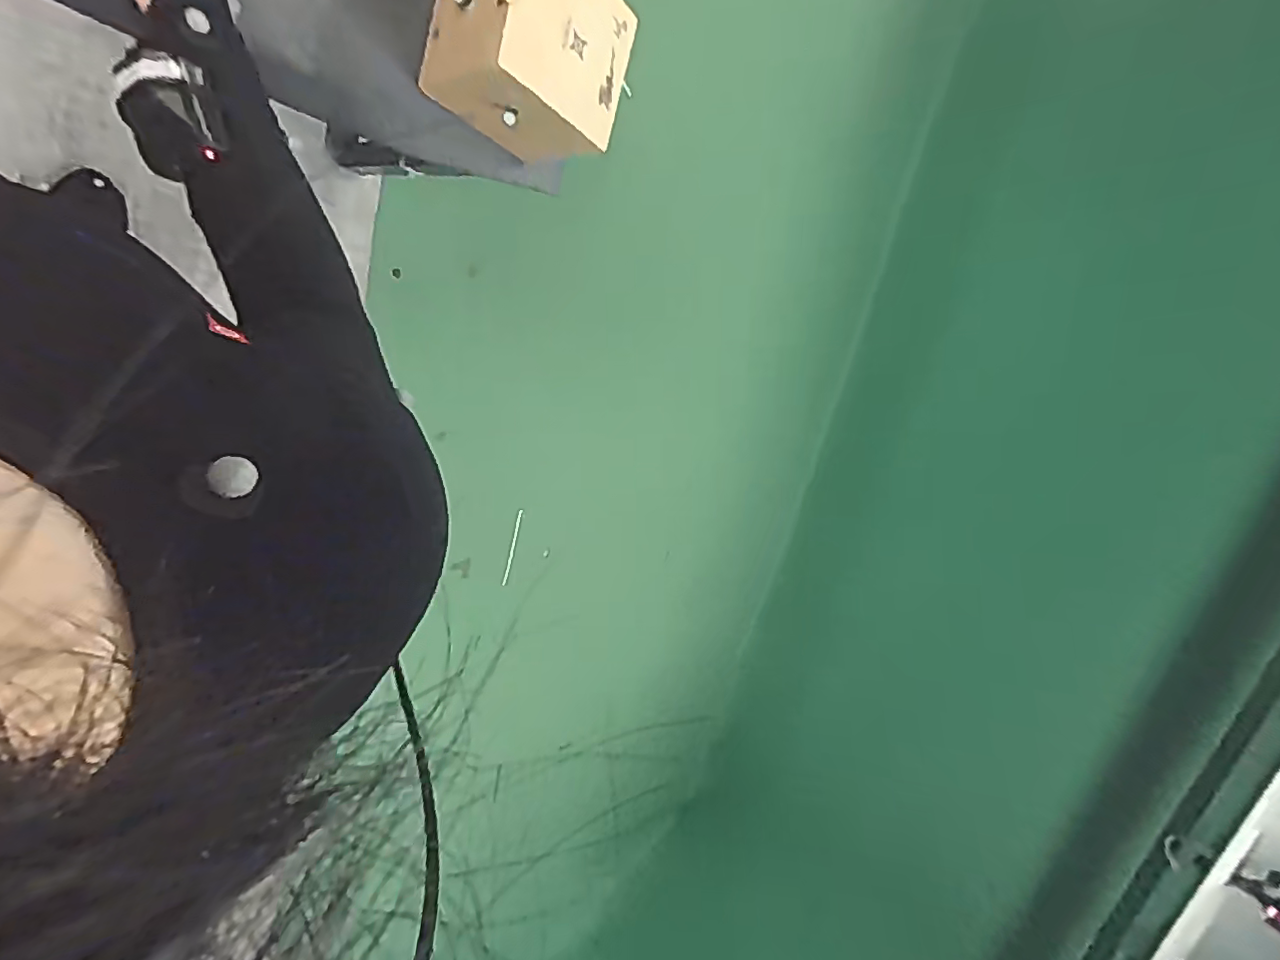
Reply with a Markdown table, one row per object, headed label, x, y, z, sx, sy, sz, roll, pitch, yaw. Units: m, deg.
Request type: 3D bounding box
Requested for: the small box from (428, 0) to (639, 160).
| label | x | y | z | sx | sy | sz | roll | pitch | yaw |
| --- | --- | --- | --- | --- | --- | --- | --- | --- | --- |
| small box | -0.134 | -0.523 | 0.670 | 0.179 | 0.176 | 0.168 | 8 | 101 | -50 |
